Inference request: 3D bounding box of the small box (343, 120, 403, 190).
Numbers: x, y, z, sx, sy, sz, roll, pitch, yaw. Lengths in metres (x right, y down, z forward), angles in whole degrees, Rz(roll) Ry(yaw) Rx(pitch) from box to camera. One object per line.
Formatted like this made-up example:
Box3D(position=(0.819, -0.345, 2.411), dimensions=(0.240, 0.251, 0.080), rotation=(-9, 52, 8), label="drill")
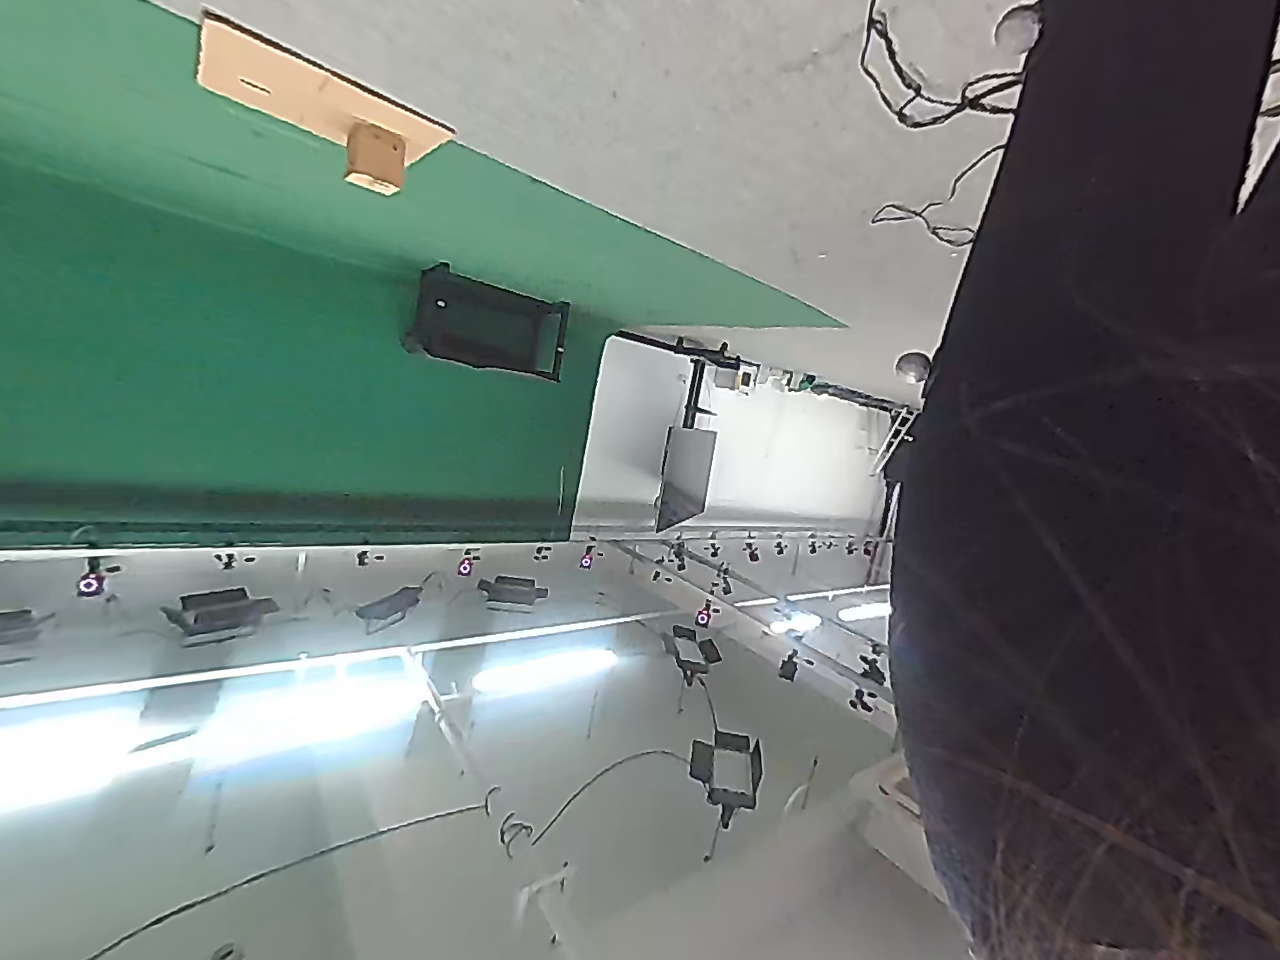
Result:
Box3D(position=(-1.016, -1.239, 2.063), dimensions=(0.168, 0.176, 0.179), rotation=(3, -168, -42), label="small box")
